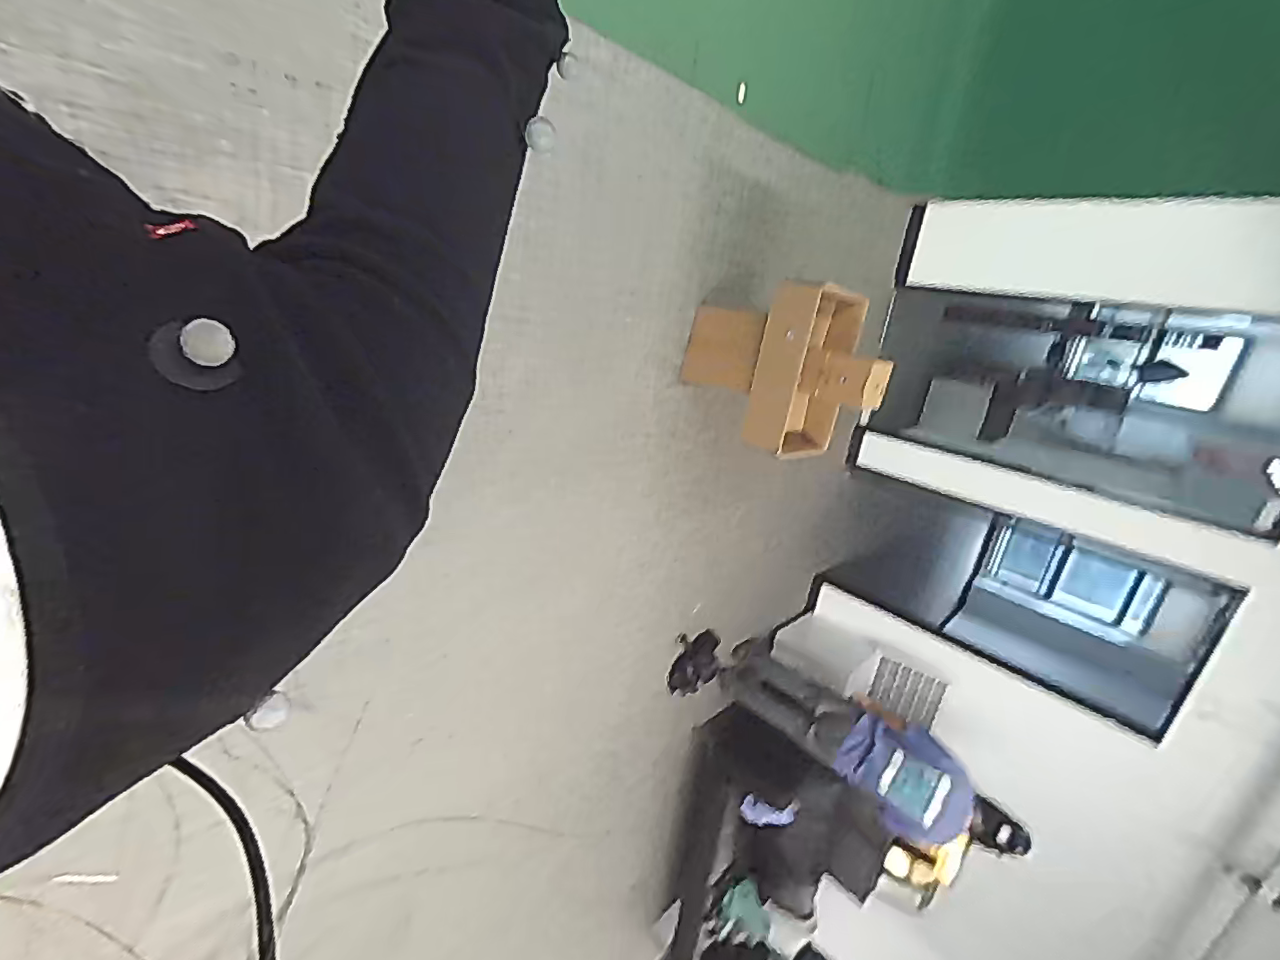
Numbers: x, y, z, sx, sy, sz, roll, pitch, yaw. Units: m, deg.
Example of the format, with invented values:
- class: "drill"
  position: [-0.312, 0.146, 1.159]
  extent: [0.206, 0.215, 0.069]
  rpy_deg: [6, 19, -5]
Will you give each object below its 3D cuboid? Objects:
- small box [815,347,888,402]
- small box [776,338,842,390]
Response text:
- class: "small box"
  position: [0.760, -0.382, 1.955]
  extent: [0.179, 0.176, 0.168]
  rpy_deg: [-9, 118, -45]
- class: "small box"
  position: [0.640, -0.440, 2.050]
  extent: [0.179, 0.176, 0.168]
  rpy_deg: [-12, 120, -47]
